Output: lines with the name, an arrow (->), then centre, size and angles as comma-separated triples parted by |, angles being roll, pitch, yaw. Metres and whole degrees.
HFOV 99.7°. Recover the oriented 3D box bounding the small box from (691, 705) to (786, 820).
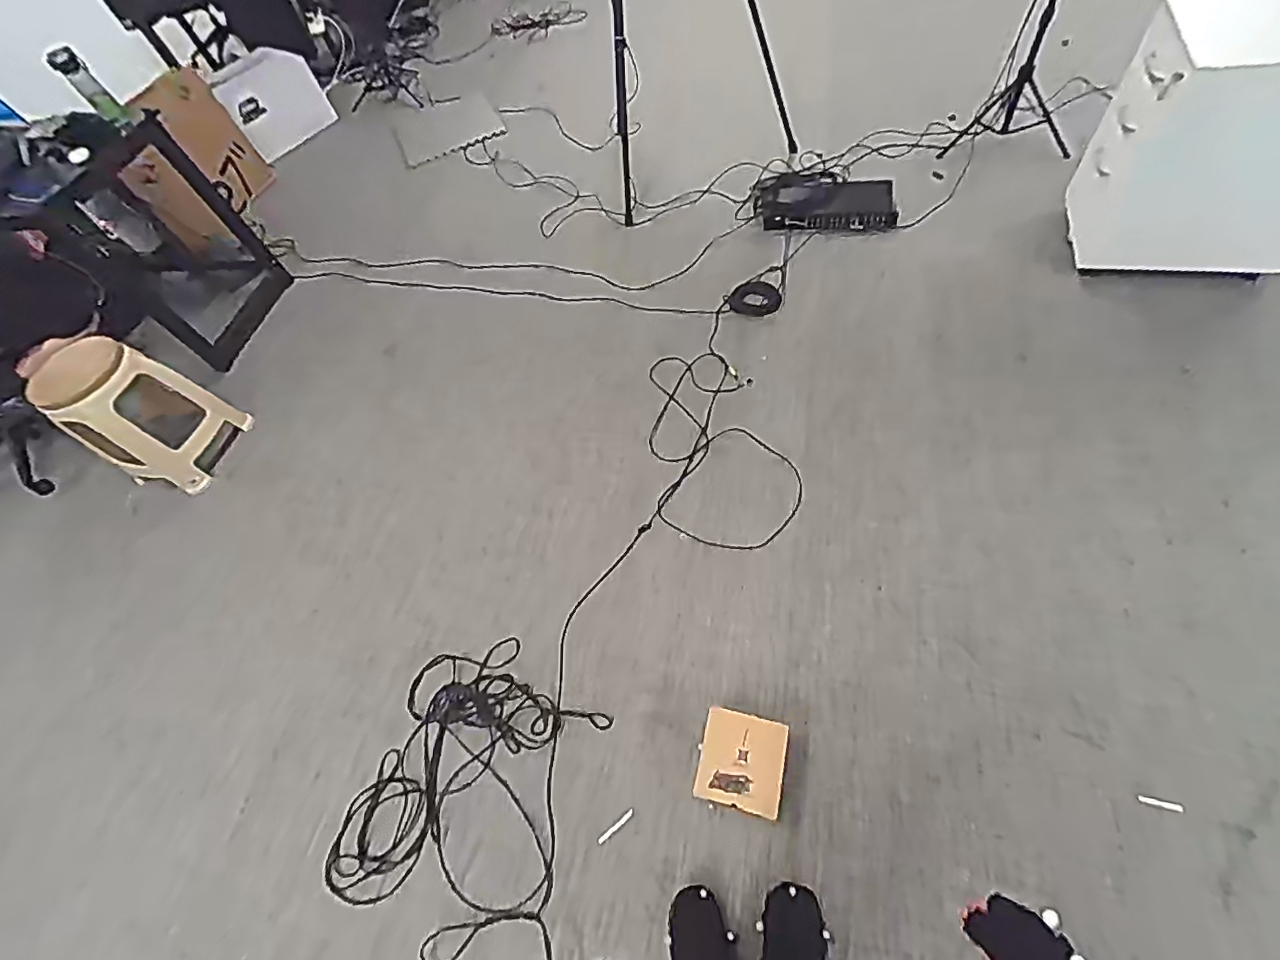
small box -> 0.214, 0.604, 1.155 | 0.168, 0.176, 0.179 | 9, 61, 16
